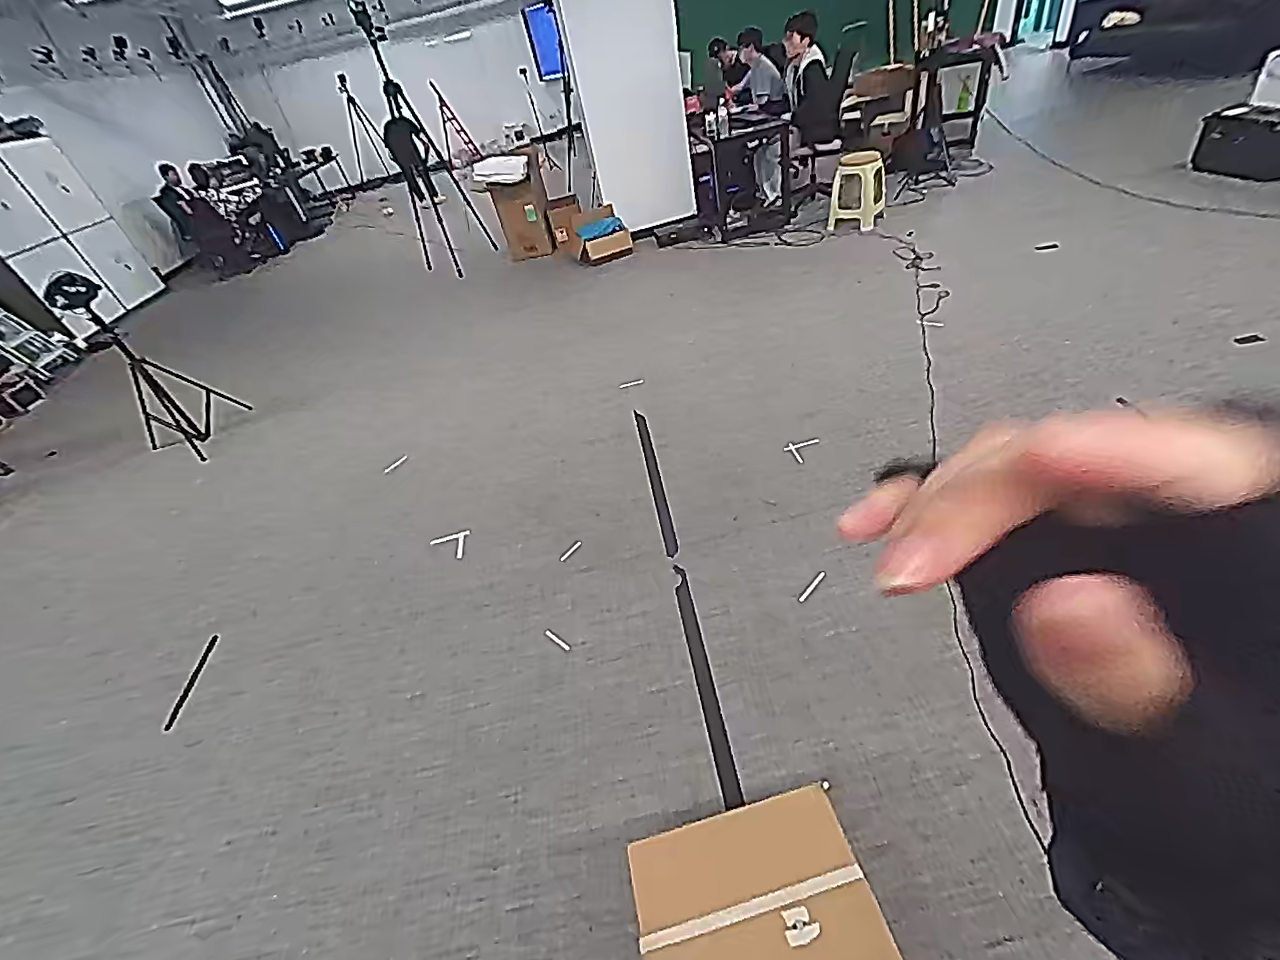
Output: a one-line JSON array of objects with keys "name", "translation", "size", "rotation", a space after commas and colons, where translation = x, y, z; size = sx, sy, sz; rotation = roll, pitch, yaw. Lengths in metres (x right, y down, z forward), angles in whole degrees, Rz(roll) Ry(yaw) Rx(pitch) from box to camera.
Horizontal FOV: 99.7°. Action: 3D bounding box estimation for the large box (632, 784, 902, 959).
[{"name": "large box", "translation": [0.233, 0.871, 1.050], "size": [0.408, 0.320, 0.320], "rotation": [-17, 39, -2]}]
